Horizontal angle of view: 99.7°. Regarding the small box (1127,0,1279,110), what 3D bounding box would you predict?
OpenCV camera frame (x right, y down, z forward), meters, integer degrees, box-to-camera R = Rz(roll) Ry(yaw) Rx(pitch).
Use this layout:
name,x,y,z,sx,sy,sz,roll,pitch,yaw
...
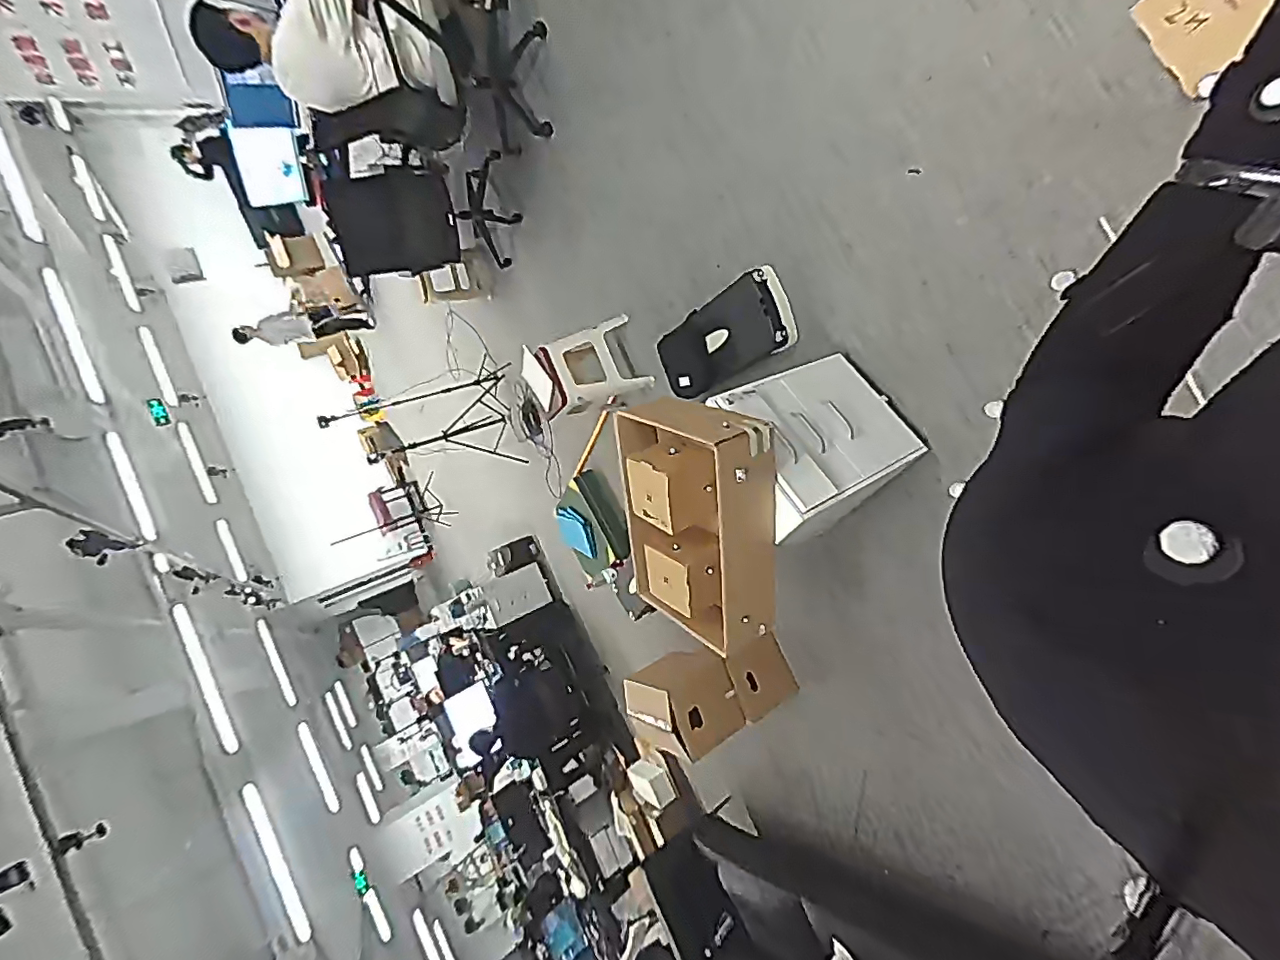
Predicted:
name,x,y,z,sx,sy,sz,roll,pitch,yaw
small box,0.846,-0.655,0.749,0.168,0.176,0.179,63,150,8

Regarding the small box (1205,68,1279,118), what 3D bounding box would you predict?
name,x,y,z,sx,sy,sz,roll,pitch,yaw
small box,0.976,-0.704,0.838,0.168,0.176,0.179,63,150,6
